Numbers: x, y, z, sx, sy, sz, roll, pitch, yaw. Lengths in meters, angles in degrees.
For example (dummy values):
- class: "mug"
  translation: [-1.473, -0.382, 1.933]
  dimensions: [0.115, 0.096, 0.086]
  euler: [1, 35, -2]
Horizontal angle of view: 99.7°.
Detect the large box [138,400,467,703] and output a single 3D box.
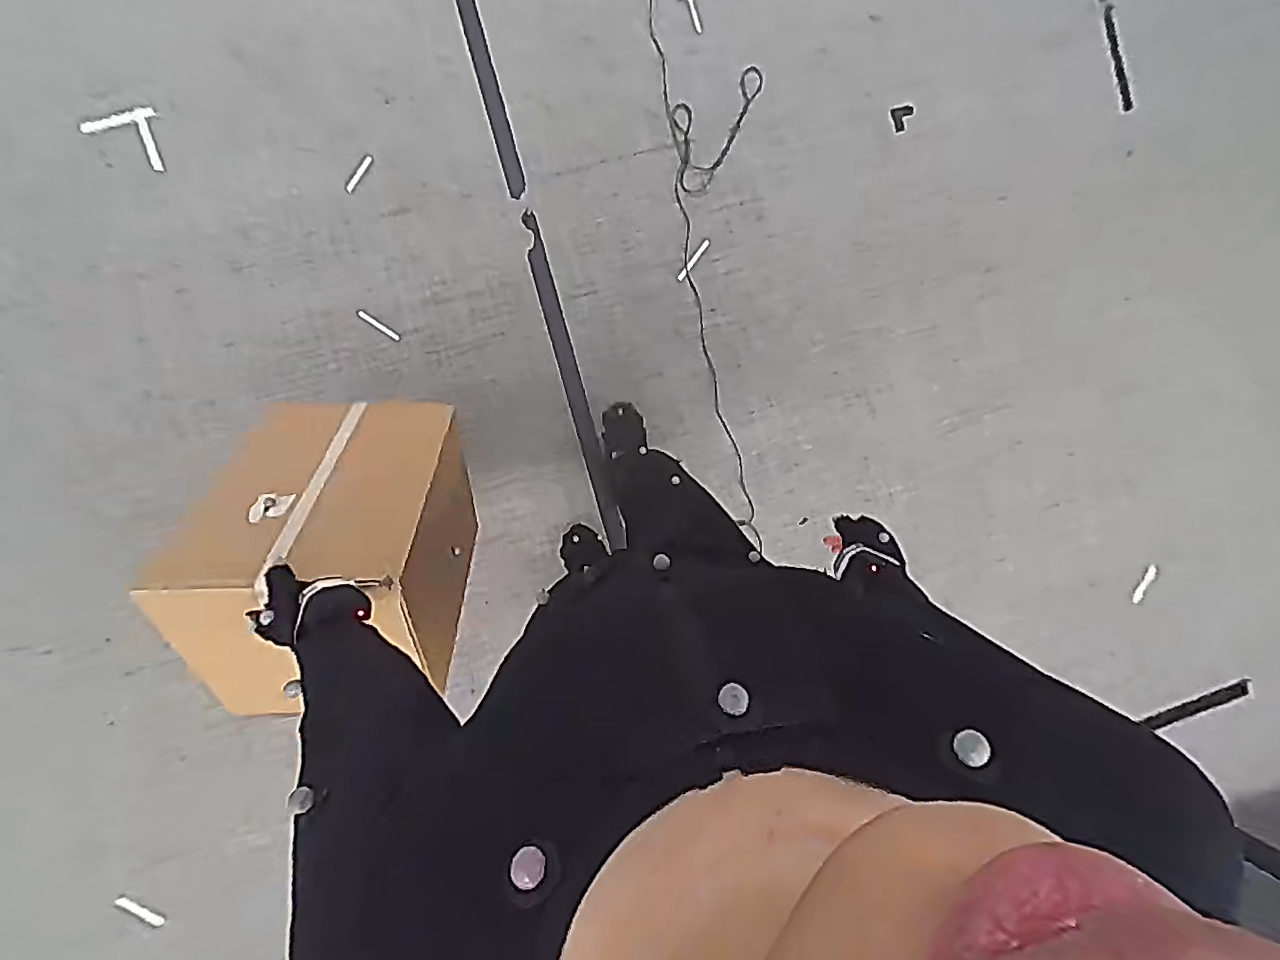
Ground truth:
- class: "large box"
  translation: [-0.486, 0.106, 0.907]
  dimensions: [0.320, 0.408, 0.320]
  euler: [-1, 132, -7]
